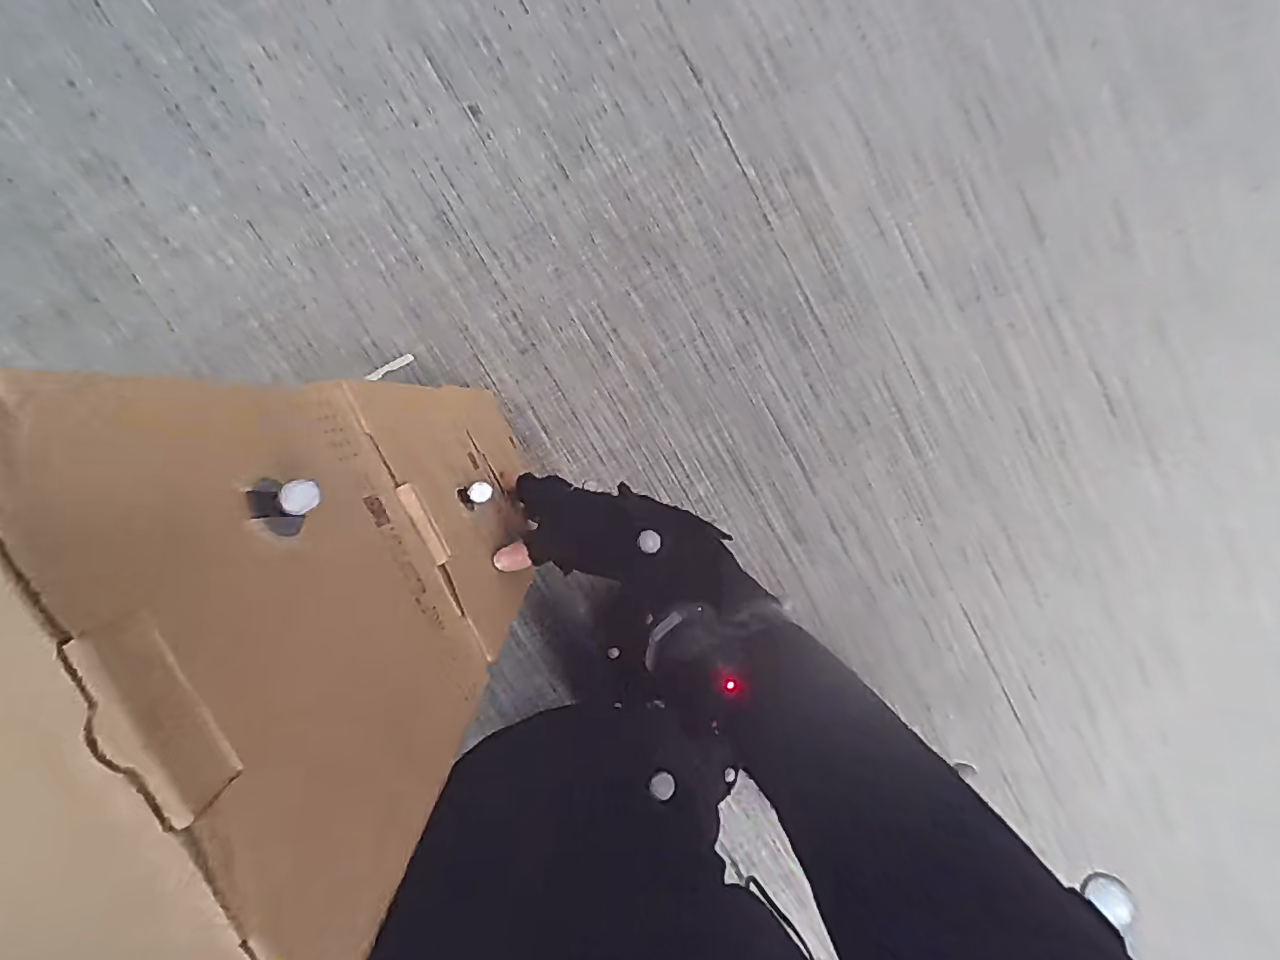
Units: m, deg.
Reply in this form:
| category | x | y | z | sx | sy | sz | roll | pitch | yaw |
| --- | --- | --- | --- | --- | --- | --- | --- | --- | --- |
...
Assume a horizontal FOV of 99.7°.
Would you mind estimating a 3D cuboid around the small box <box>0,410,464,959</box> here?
| category | x | y | z | sx | sy | sz | roll | pitch | yaw |
| --- | --- | --- | --- | --- | --- | --- | --- | --- | --- |
| small box | -0.184 | 0.080 | 0.195 | 0.179 | 0.176 | 0.168 | -24 | 97 | 2 |

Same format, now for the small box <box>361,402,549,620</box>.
| category | x | y | z | sx | sy | sz | roll | pitch | yaw |
| --- | --- | --- | --- | --- | --- | --- | --- | --- | --- |
| small box | -0.199 | 0.032 | 0.517 | 0.179 | 0.176 | 0.168 | -25 | 98 | 2 |
